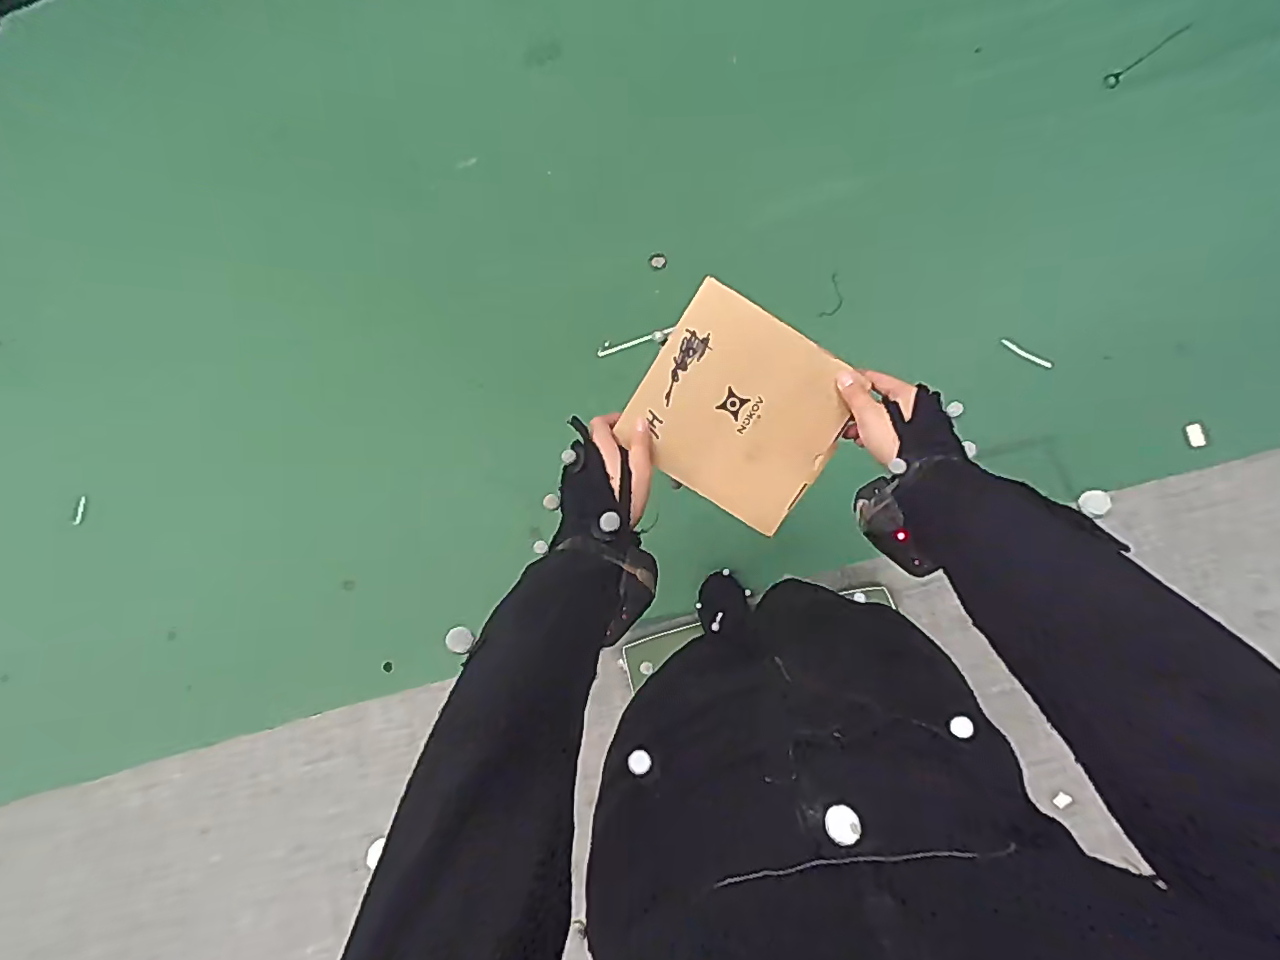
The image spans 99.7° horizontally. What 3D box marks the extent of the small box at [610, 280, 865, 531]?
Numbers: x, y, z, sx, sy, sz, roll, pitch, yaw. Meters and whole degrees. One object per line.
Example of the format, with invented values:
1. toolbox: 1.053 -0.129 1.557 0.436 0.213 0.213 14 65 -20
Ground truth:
1. small box: 0.087 -0.074 0.563 0.179 0.176 0.168 32 95 -3
